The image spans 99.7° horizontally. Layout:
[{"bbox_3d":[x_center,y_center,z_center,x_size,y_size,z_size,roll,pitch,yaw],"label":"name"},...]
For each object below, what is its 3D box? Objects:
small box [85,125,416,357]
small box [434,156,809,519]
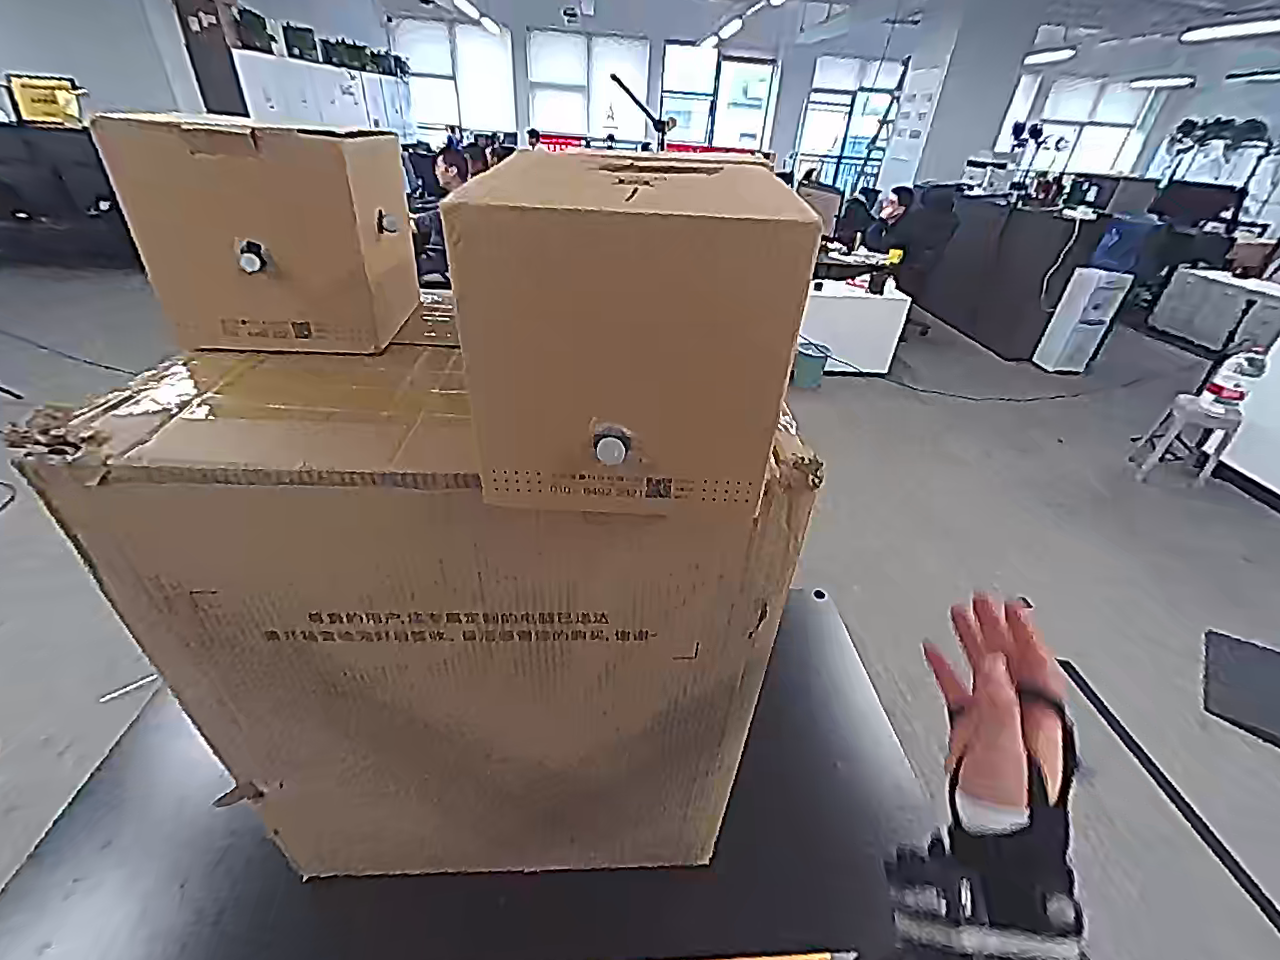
[{"bbox_3d":[-0.318,-0.220,0.496,0.168,0.176,0.179,-1,34,-7],"label":"small box"},{"bbox_3d":[-0.007,-0.097,0.344,0.168,0.176,0.179,2,37,2],"label":"small box"}]
